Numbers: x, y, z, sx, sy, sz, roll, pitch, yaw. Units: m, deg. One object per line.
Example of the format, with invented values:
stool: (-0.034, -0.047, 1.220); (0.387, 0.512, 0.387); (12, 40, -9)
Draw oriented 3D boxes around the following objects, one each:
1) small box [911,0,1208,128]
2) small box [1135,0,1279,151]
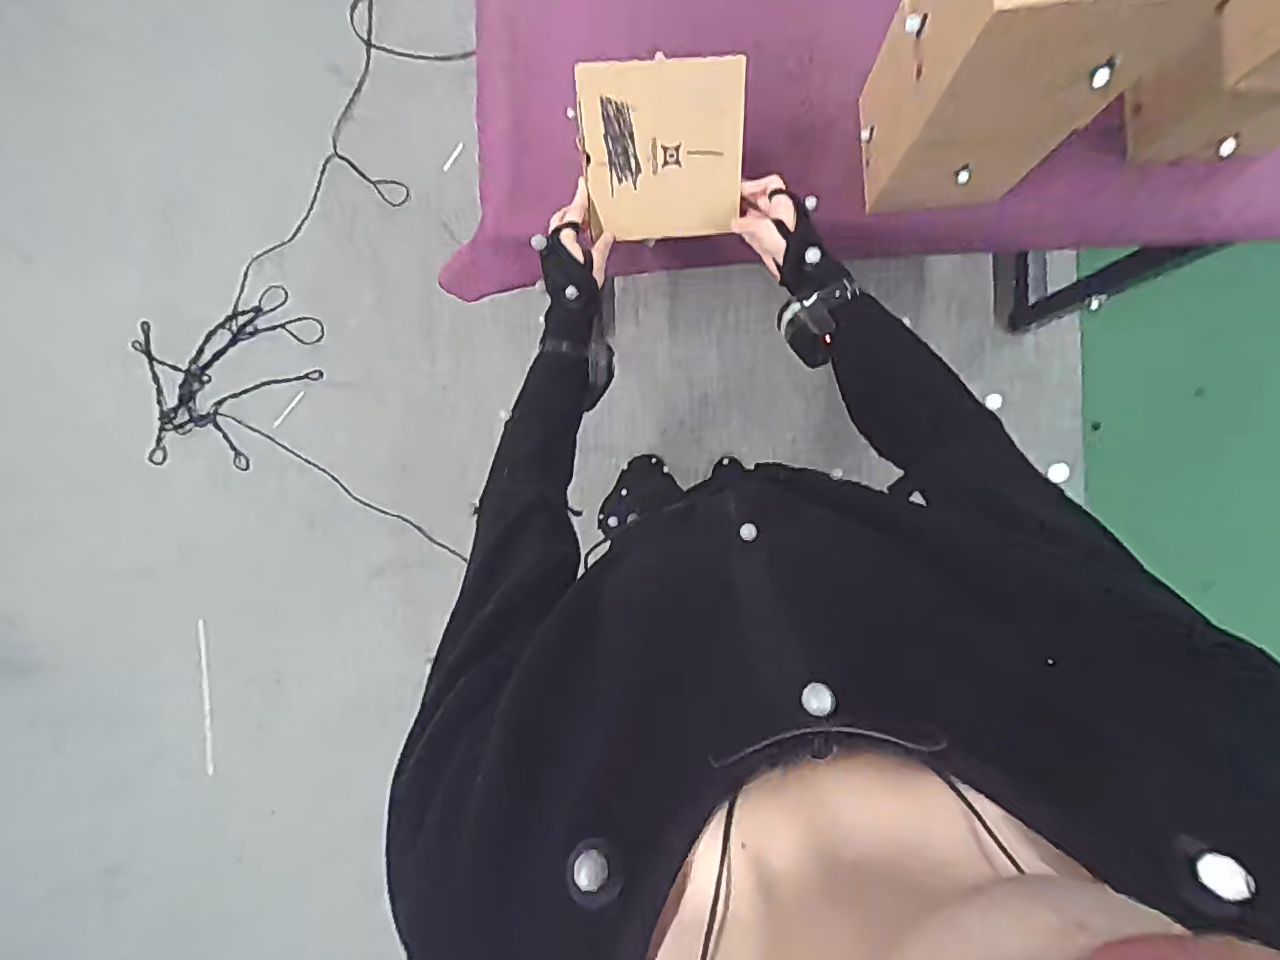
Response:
small box: (0.367, -0.456, 0.487); (0.179, 0.176, 0.168); (-1, 88, 7)
small box: (0.723, -0.509, 0.615); (0.179, 0.176, 0.168); (-2, 88, 7)
